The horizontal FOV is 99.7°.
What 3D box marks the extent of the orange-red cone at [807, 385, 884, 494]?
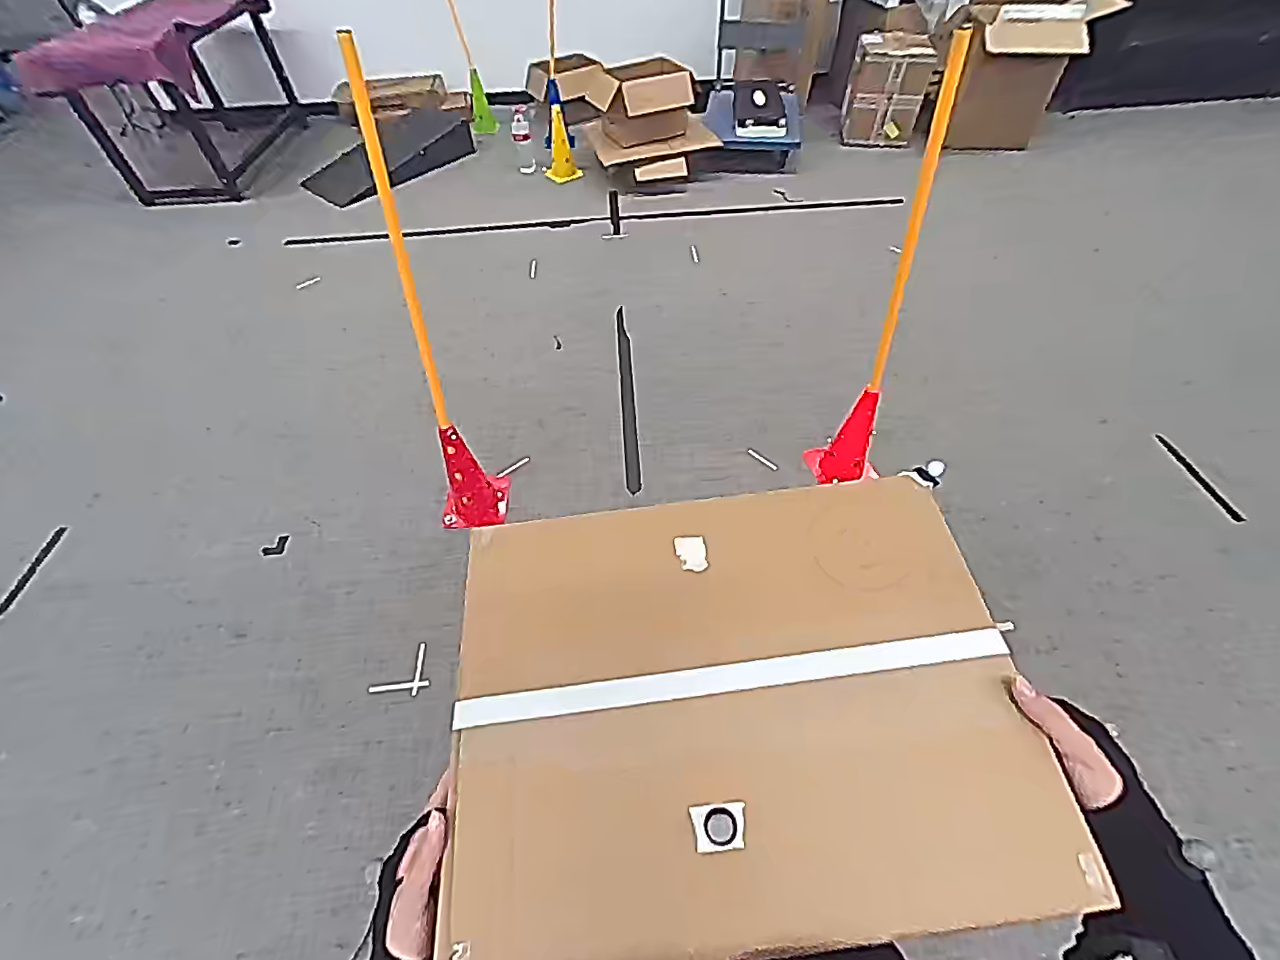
[{"bbox_3d":[0.674,-0.148,1.666,0.199,0.360,0.198,-10,53,-8],"label":"orange-red cone"}]
